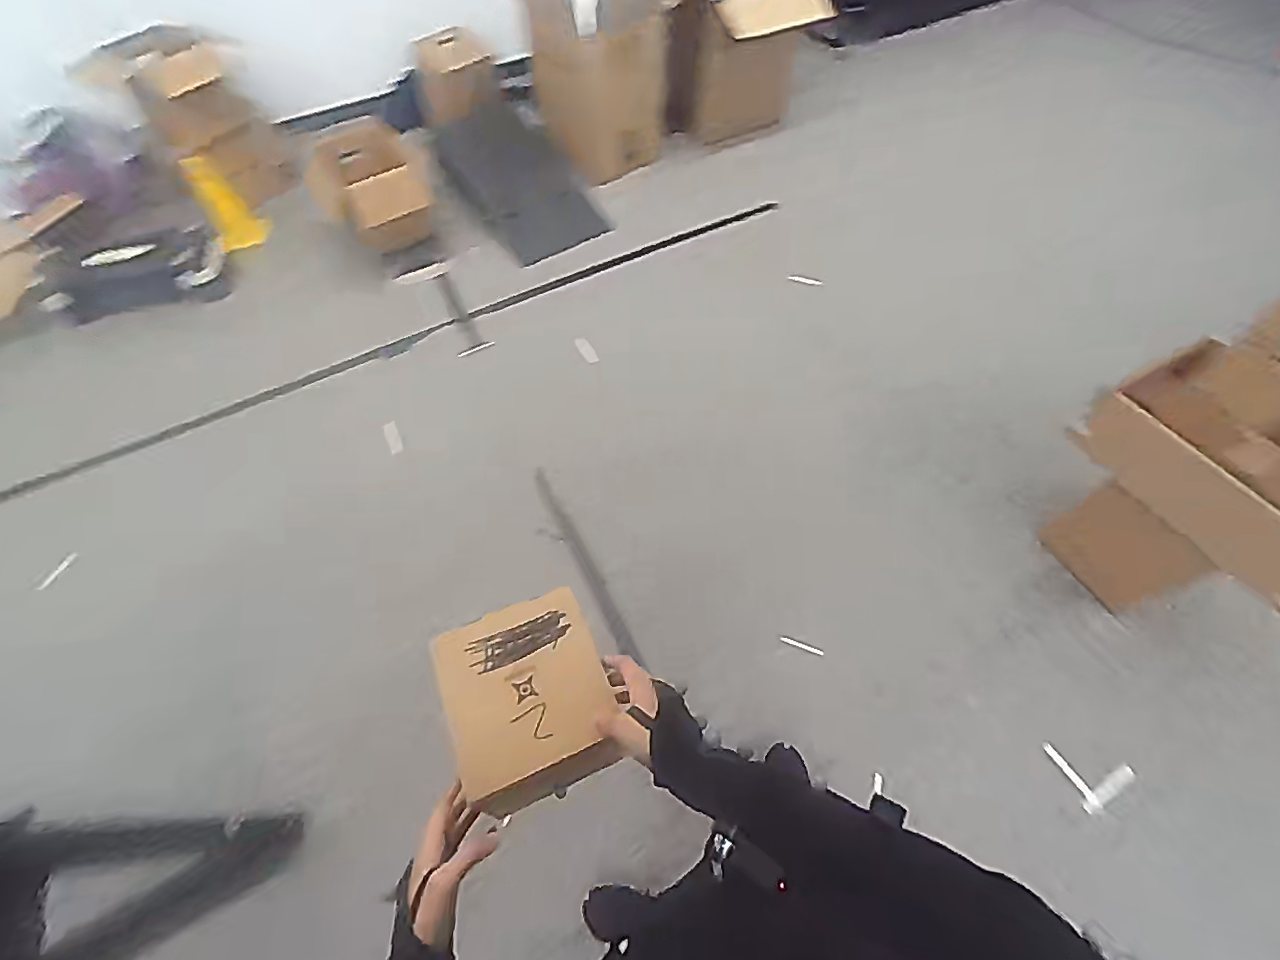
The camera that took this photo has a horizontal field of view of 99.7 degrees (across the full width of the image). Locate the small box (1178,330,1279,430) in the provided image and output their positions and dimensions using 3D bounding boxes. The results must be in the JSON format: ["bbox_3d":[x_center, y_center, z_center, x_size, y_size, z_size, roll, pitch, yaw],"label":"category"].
[{"bbox_3d":[1.363,-0.241,1.192,0.179,0.176,0.168,-28,62,-17],"label":"small box"}]

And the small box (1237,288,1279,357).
[{"bbox_3d":[1.360,-0.342,1.060,0.179,0.176,0.168,-30,62,-18],"label":"small box"}]
